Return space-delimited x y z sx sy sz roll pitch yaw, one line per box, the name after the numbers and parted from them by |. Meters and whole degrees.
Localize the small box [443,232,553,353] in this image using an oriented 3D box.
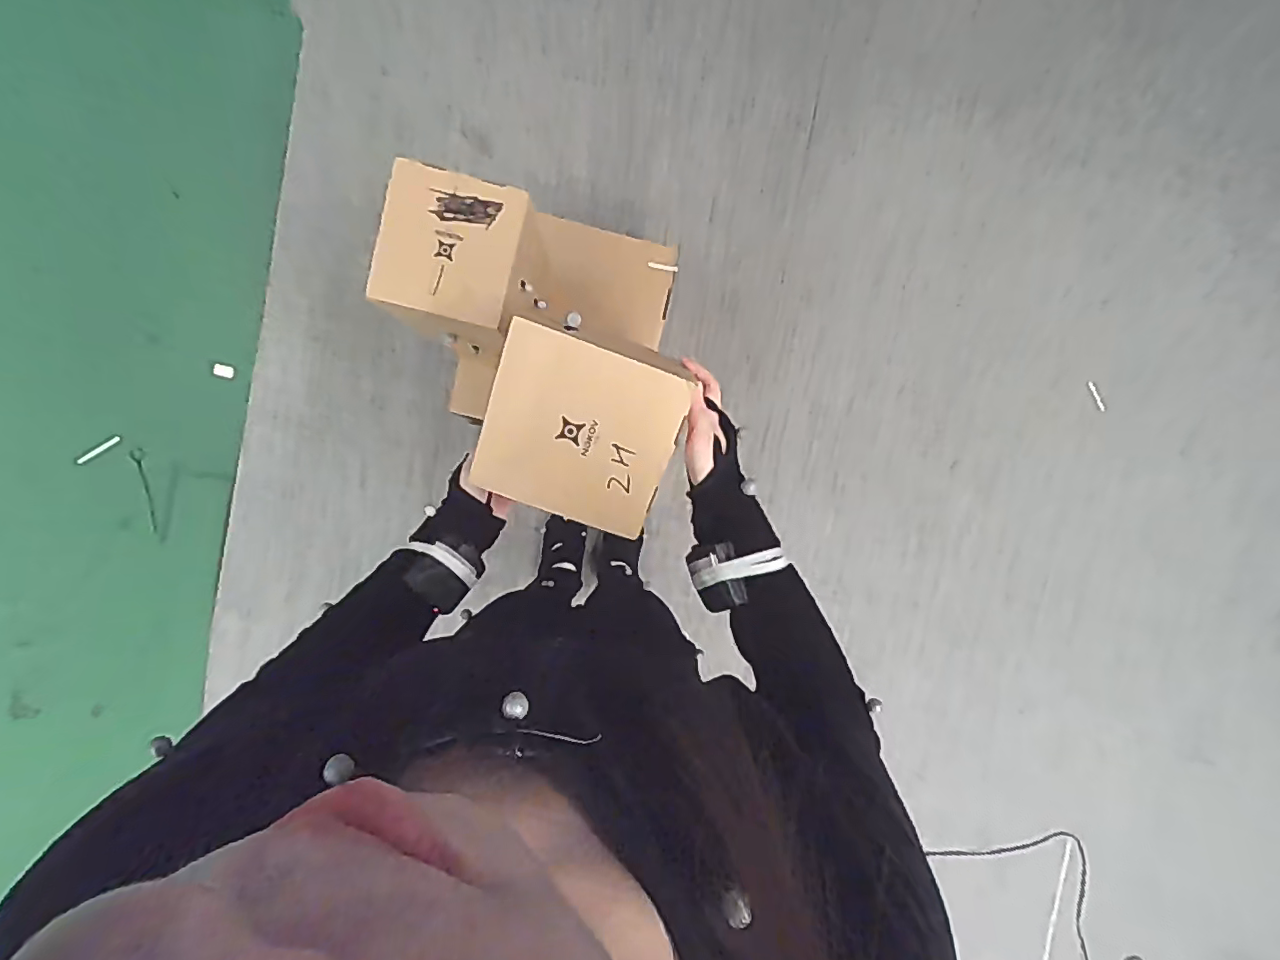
-0.245 -0.314 0.898 0.168 0.176 0.179 14 93 -4 | small box

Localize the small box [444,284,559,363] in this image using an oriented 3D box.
-0.261 -0.318 1.061 0.168 0.176 0.179 14 90 -4 | small box

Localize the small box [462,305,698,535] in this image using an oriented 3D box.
-0.056 -0.072 0.567 0.179 0.176 0.168 21 109 -6 | small box

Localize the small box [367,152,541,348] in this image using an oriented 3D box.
-0.237 -0.295 0.735 0.168 0.176 0.179 14 92 -4 | small box
